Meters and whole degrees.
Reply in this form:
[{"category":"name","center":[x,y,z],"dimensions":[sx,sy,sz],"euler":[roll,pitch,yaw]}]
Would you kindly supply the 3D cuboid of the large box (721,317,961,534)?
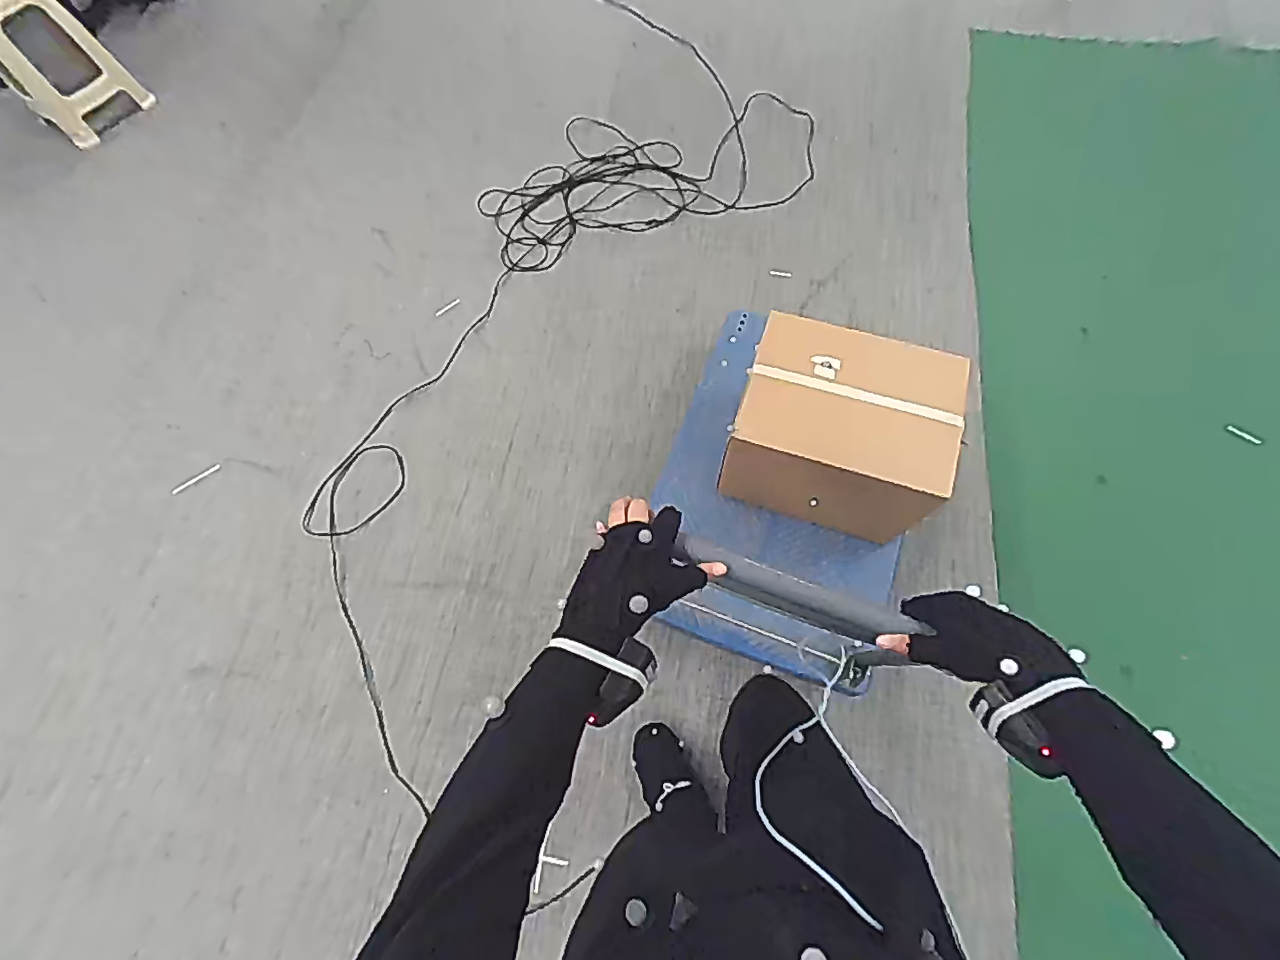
[{"category":"large box","center":[0.418,-0.106,1.195],"dimensions":[0.408,0.320,0.320],"euler":[16,70,10]}]
